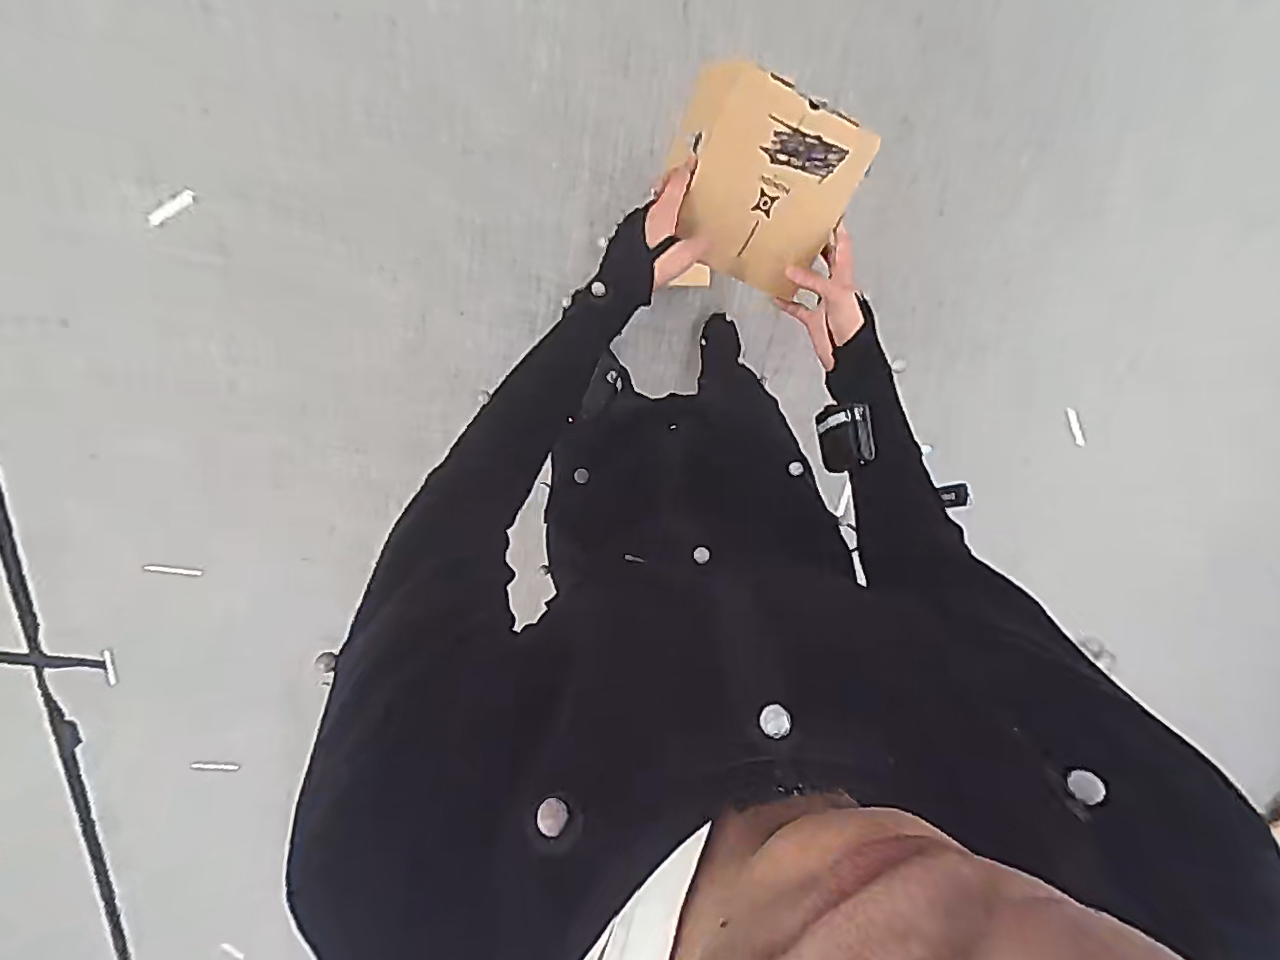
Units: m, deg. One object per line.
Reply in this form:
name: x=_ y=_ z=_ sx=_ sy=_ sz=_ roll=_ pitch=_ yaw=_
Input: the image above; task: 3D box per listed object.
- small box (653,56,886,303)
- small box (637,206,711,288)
small box: x=0.125 y=-0.333 z=0.605 sx=0.168 sy=0.176 sz=0.179 roll=15 pitch=123 yaw=-18
small box: x=0.082 y=-0.573 z=1.340 sx=0.168 sy=0.176 sz=0.179 roll=-2 pitch=112 yaw=-5
